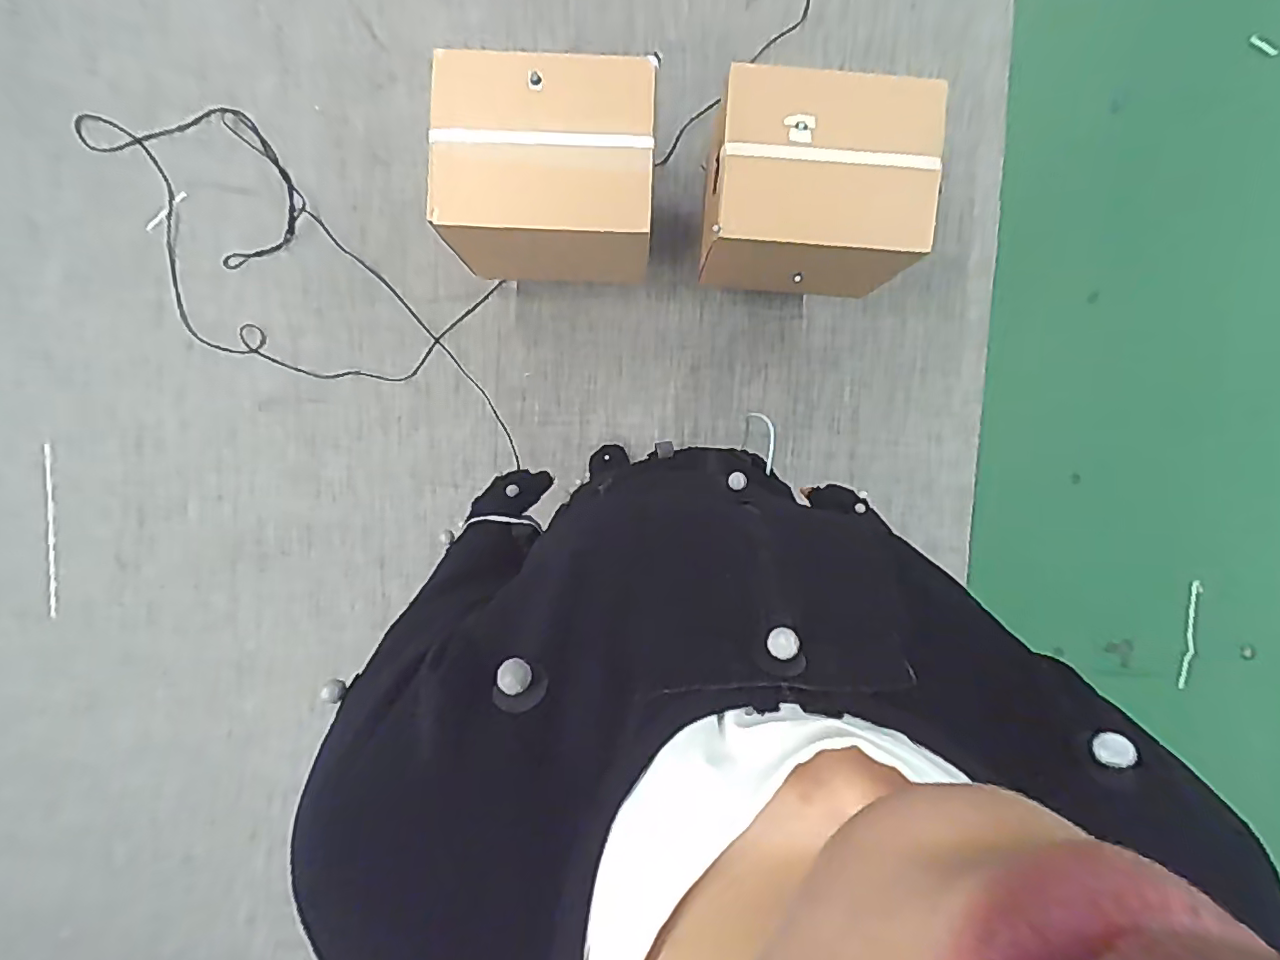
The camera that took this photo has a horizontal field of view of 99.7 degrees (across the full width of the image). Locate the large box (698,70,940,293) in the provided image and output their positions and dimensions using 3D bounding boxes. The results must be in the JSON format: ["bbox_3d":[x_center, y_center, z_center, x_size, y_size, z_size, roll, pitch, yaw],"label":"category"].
[{"bbox_3d":[0.351,-0.604,1.157,0.408,0.320,0.320,4,93,-1],"label":"large box"}]
